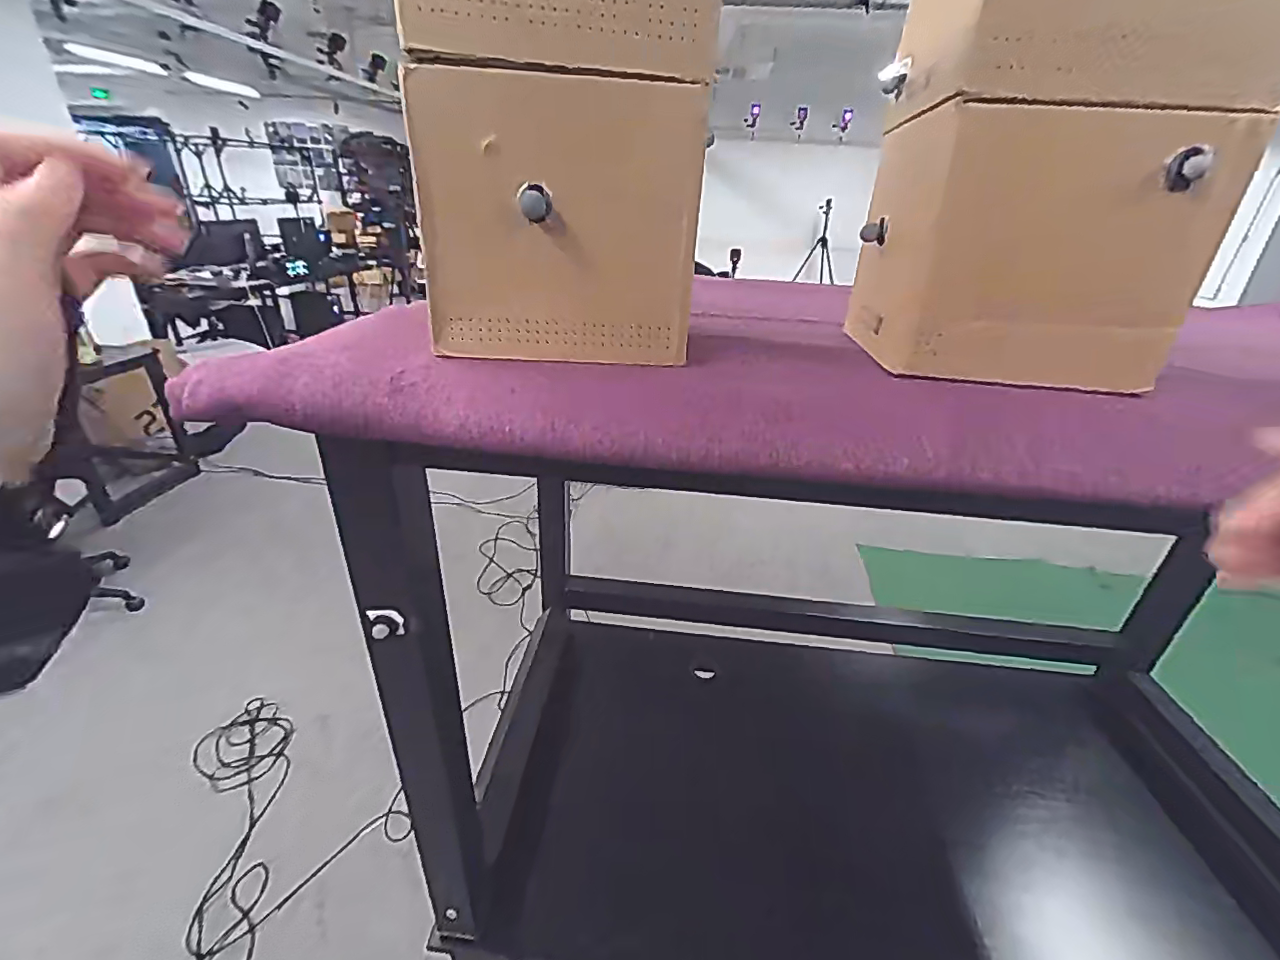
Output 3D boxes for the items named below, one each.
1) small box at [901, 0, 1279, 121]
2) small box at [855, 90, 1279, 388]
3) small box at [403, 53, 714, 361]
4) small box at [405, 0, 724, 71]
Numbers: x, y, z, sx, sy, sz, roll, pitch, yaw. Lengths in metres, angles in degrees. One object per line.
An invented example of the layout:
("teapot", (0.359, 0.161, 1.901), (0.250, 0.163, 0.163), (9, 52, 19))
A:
("small box", (0.287, -0.323, 0.342), (0.179, 0.176, 0.168), (7, 27, 4))
("small box", (0.277, -0.175, 0.411), (0.179, 0.176, 0.168), (6, 27, 5))
("small box", (-0.050, -0.192, 0.404), (0.179, 0.176, 0.168), (1, 29, -4))
("small box", (-0.042, -0.336, 0.328), (0.179, 0.176, 0.168), (-1, 28, -7))
